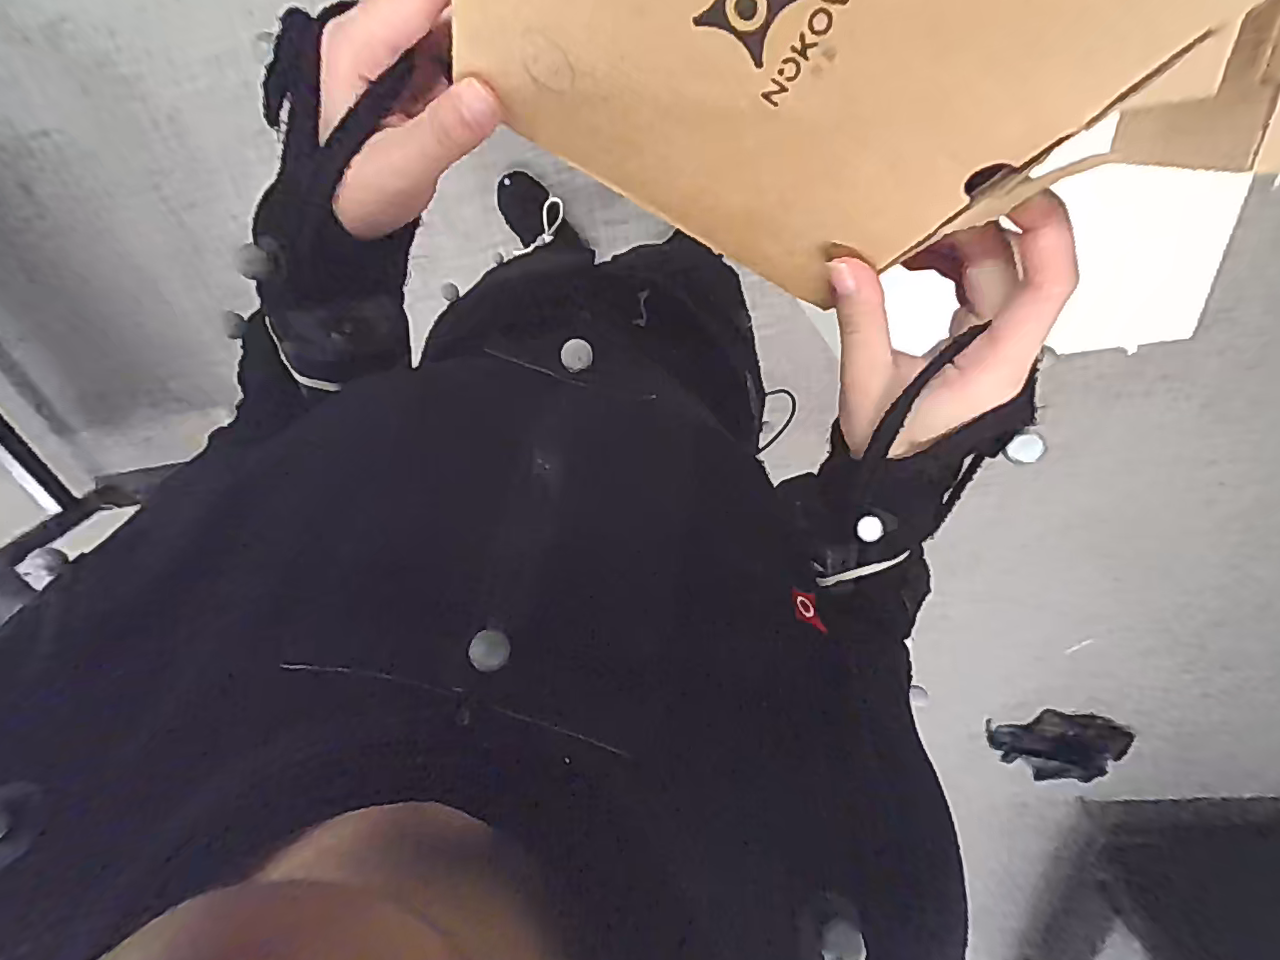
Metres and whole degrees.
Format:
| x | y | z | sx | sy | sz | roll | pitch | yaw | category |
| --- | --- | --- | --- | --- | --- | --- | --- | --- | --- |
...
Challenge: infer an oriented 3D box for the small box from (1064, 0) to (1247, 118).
| x | y | z | sx | sy | sz | roll | pitch | yaw | category |
| --- | --- | --- | --- | --- | --- | --- | --- | --- | --- |
| 0.334 | -0.389 | 0.435 | 0.179 | 0.176 | 0.168 | -6 | 124 | 5 | small box |

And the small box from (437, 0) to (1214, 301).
| x | y | z | sx | sy | sz | roll | pitch | yaw | category |
| --- | --- | --- | --- | --- | --- | --- | --- | --- | --- |
| 0.056 | -0.199 | 0.165 | 0.179 | 0.176 | 0.168 | 24 | 163 | -13 | small box |
